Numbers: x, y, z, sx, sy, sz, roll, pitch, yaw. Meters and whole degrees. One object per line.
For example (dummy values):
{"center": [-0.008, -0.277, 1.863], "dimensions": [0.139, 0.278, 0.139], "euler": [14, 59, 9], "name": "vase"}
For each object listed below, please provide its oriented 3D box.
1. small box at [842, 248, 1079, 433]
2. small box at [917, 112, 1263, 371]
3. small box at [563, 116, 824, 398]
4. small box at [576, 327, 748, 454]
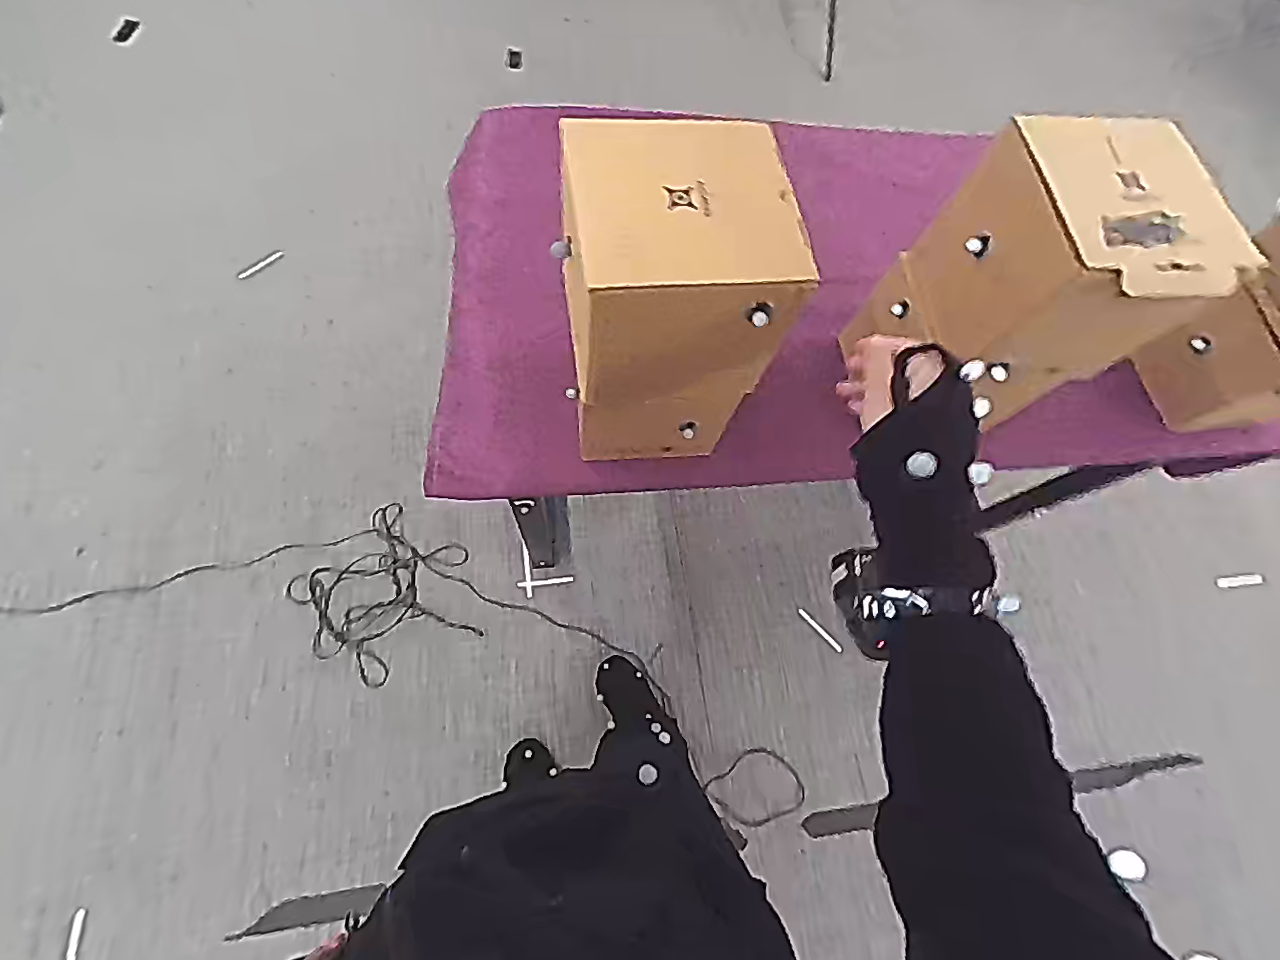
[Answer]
{"center": [0.389, -0.168, 0.687], "dimensions": [0.179, 0.176, 0.168], "euler": [-3, 70, -8], "name": "small box"}
{"center": [0.410, -0.220, 0.532], "dimensions": [0.168, 0.176, 0.179], "euler": [-3, 70, -7], "name": "small box"}
{"center": [0.029, -0.184, 0.480], "dimensions": [0.179, 0.176, 0.168], "euler": [-7, 71, -11], "name": "small box"}
{"center": [0.012, -0.137, 0.635], "dimensions": [0.168, 0.176, 0.179], "euler": [-3, 69, -9], "name": "small box"}
